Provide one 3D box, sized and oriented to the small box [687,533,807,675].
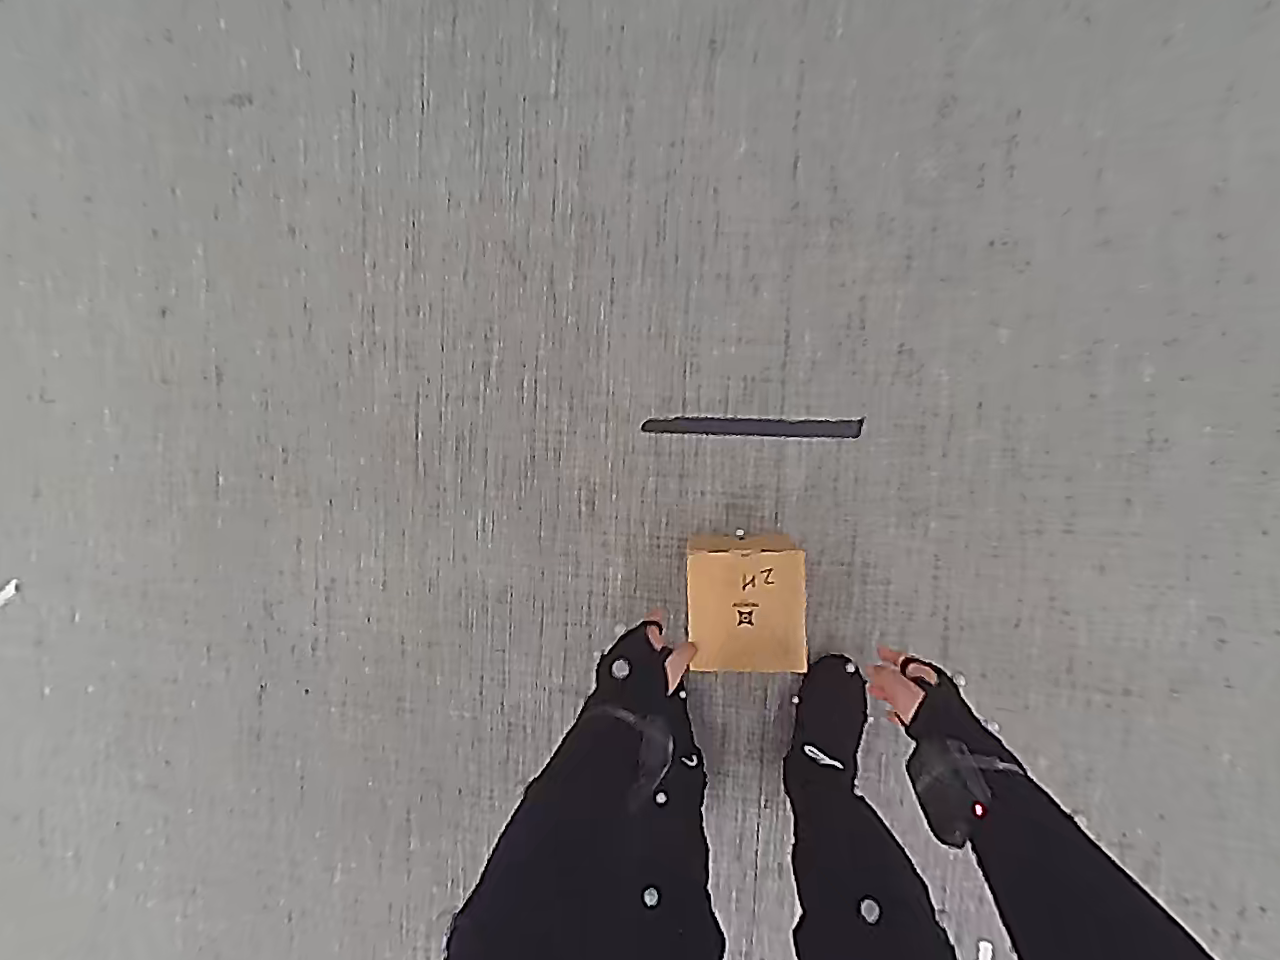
[{"bbox_3d":[0.159,0.181,0.831,0.168,0.176,0.179,-1,92,7],"label":"small box"}]
